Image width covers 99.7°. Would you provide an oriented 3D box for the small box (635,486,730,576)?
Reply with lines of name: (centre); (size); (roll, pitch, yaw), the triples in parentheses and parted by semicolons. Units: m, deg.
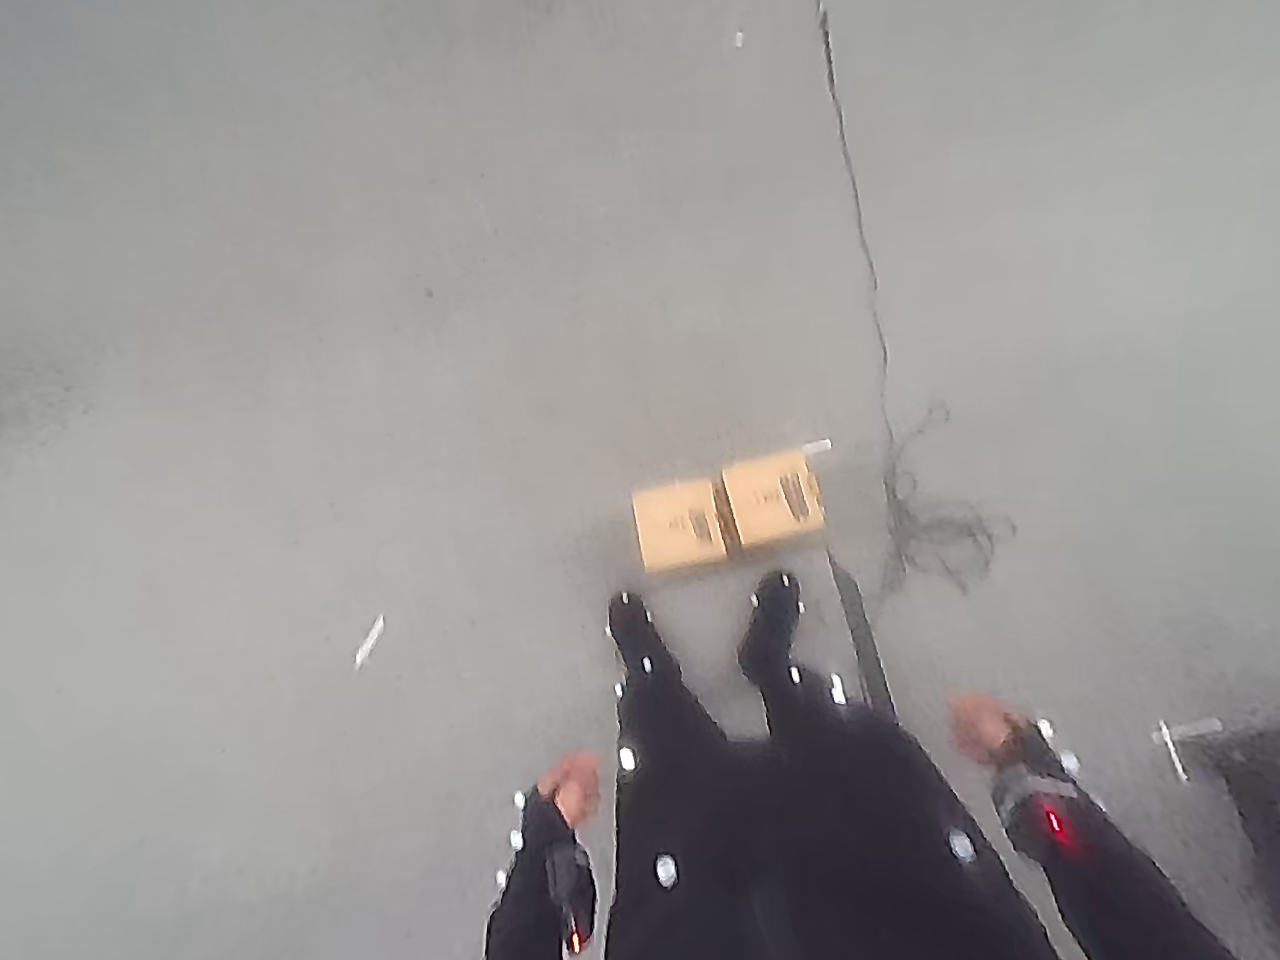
small box: (0.098, 0.114, 1.199); (0.179, 0.176, 0.168); (-12, 82, 9)
